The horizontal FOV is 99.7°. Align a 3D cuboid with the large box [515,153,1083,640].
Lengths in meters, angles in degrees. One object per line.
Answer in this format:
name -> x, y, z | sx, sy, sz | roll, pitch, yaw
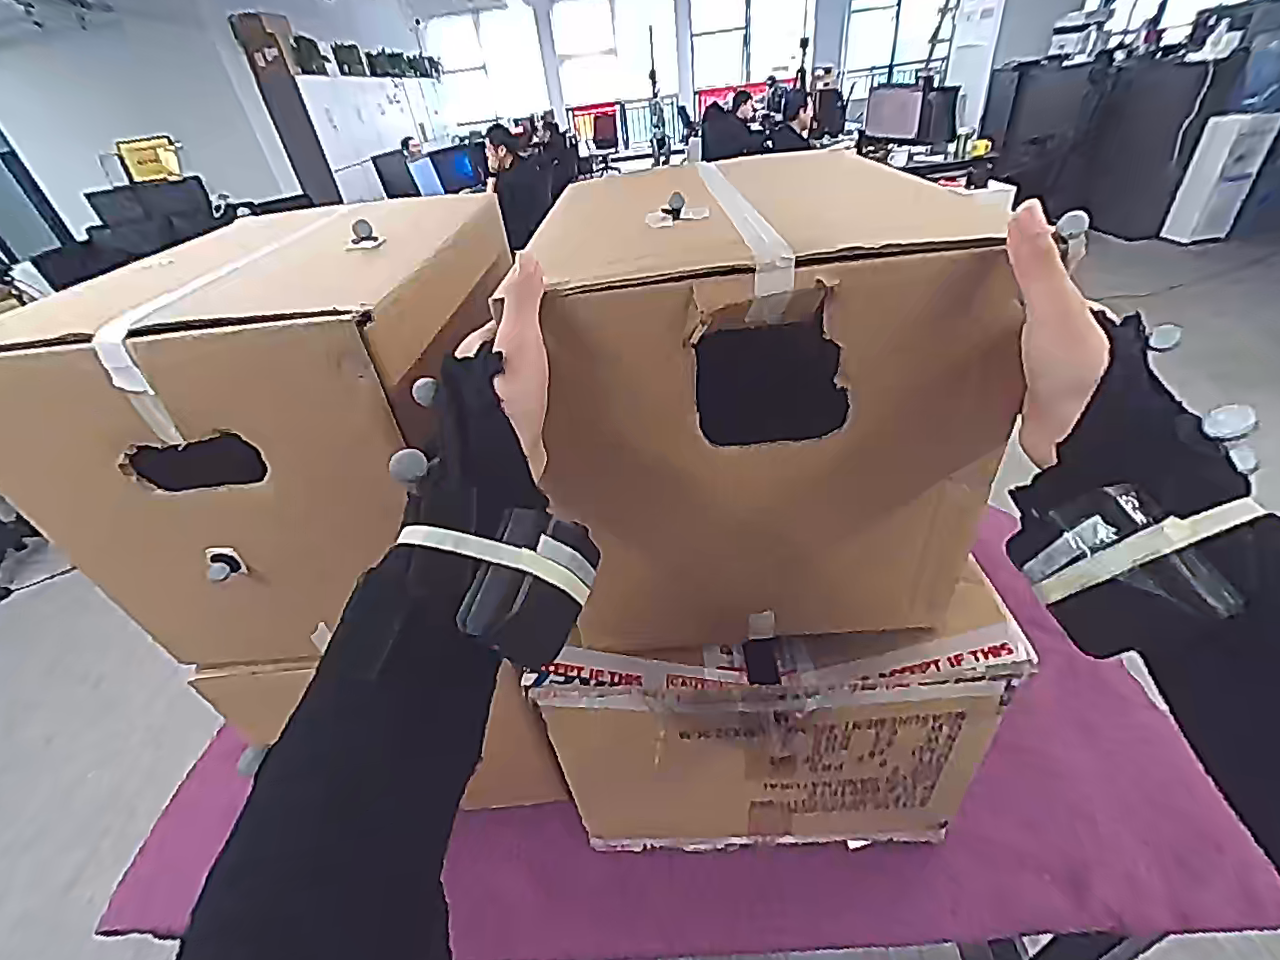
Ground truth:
large box -> 0.092, -0.108, 0.535 | 0.320, 0.320, 0.408 | -6, 37, 4
